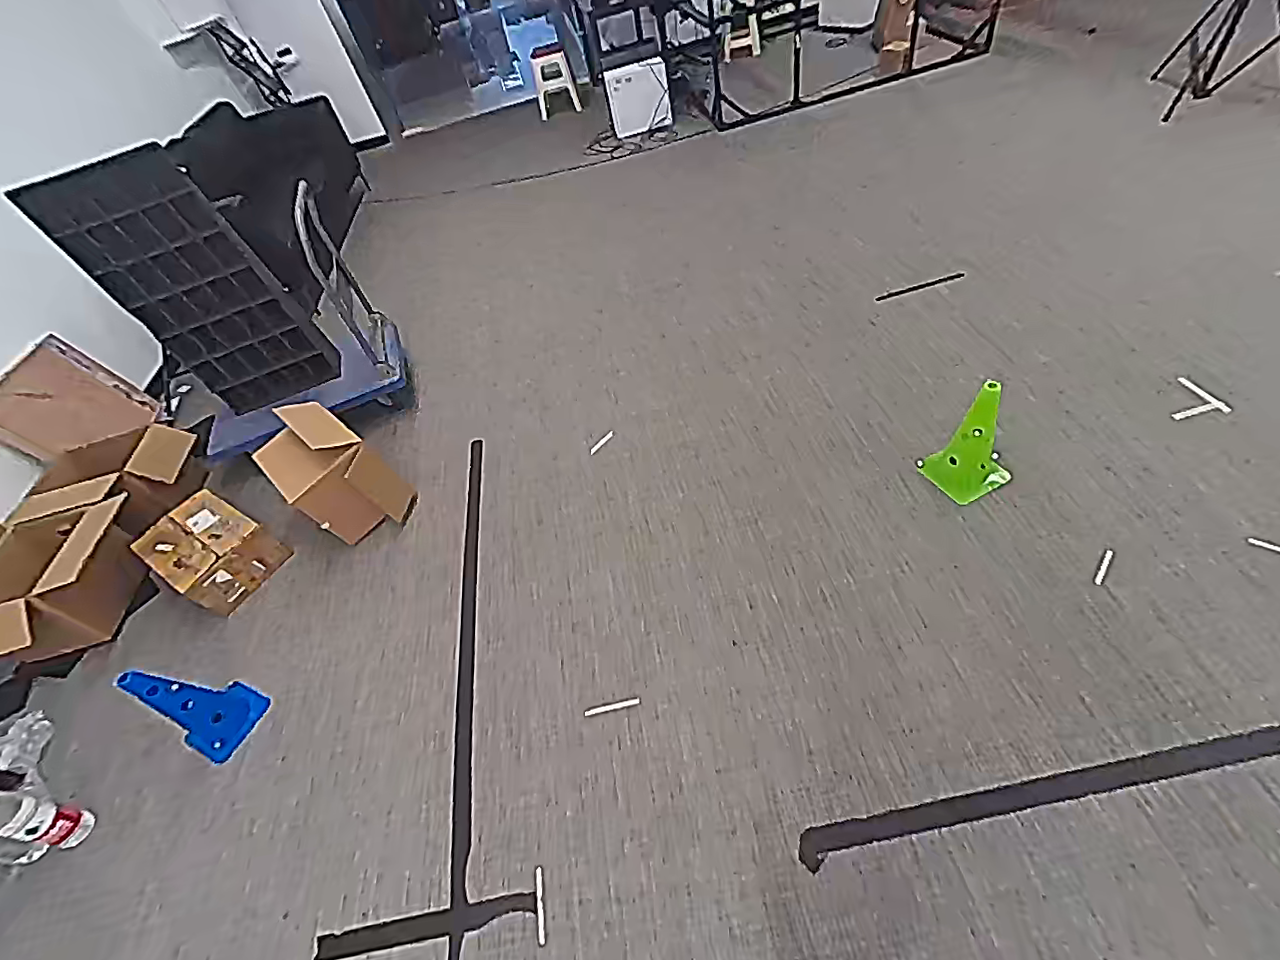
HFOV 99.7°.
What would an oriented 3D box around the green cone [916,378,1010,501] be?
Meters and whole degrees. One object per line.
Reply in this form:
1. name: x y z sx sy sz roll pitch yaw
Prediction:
1. green cone: 0.976 -0.141 1.565 0.202 0.368 0.200 -26 49 -9
